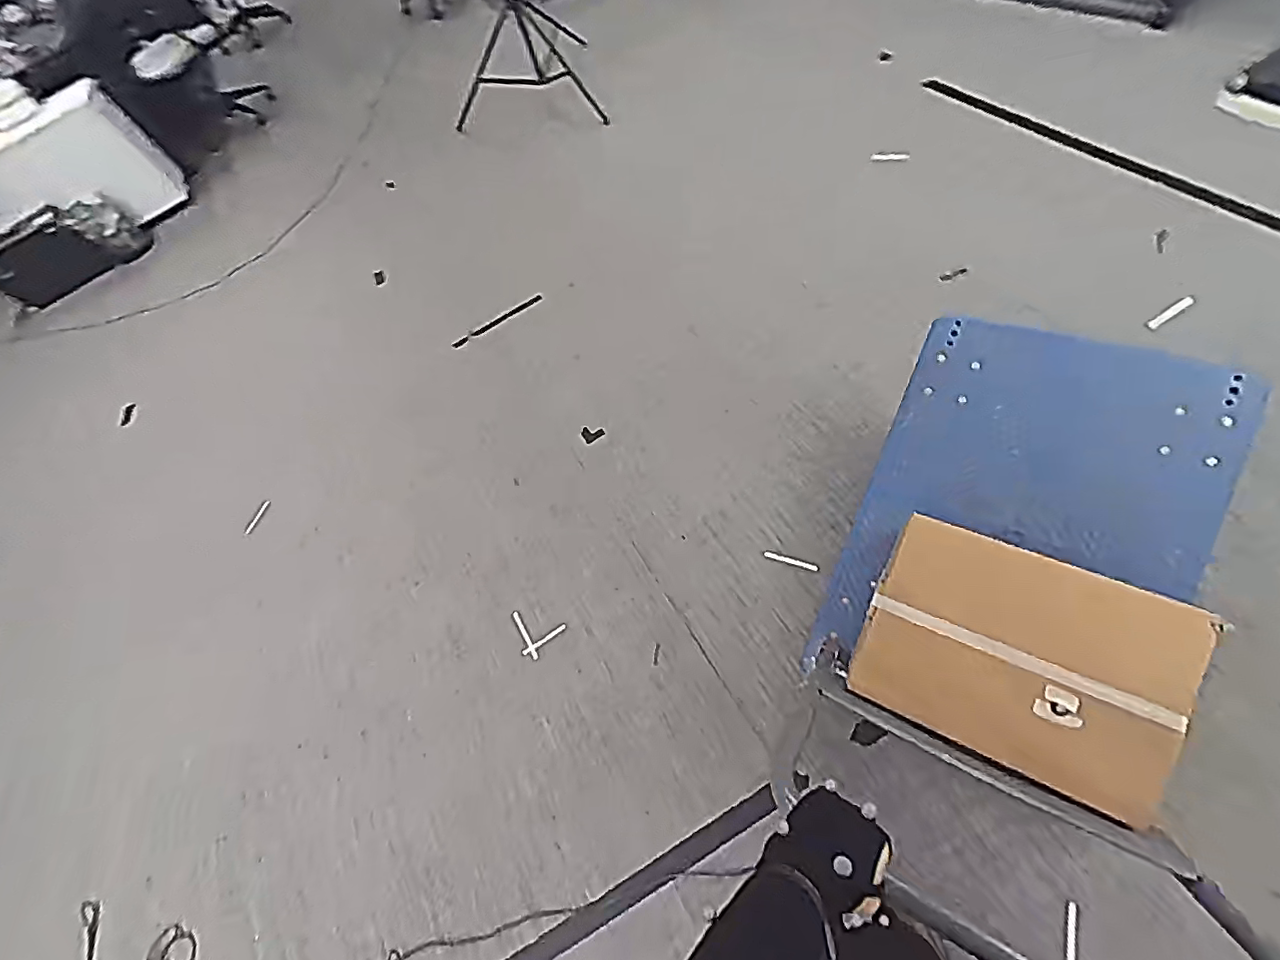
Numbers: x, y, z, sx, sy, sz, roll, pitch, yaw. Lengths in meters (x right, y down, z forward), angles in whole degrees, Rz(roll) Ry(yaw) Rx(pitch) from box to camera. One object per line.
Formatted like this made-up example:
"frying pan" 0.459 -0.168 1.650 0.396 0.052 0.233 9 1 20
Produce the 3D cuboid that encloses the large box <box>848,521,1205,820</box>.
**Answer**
"large box" 0.621 0.297 0.967 0.408 0.320 0.320 21 89 23
